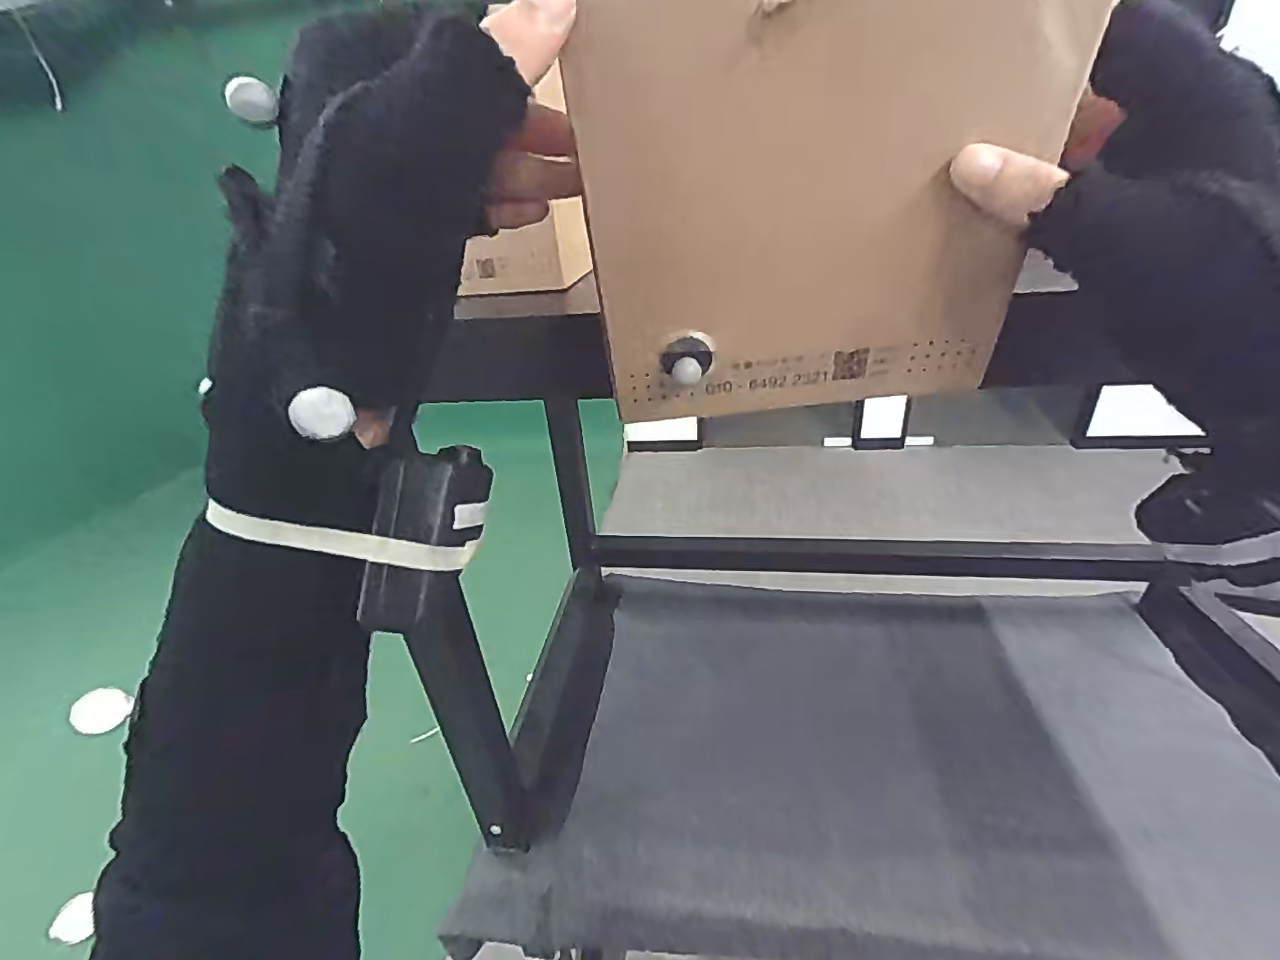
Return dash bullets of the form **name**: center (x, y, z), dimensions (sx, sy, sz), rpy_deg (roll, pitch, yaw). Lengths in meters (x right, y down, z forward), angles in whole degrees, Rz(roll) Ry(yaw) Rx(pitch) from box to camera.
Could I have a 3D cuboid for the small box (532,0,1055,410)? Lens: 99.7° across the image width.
- **small box**: center (0.057, -0.146, 0.267), dimensions (0.168, 0.176, 0.179), rpy_deg (-5, 40, 3)
